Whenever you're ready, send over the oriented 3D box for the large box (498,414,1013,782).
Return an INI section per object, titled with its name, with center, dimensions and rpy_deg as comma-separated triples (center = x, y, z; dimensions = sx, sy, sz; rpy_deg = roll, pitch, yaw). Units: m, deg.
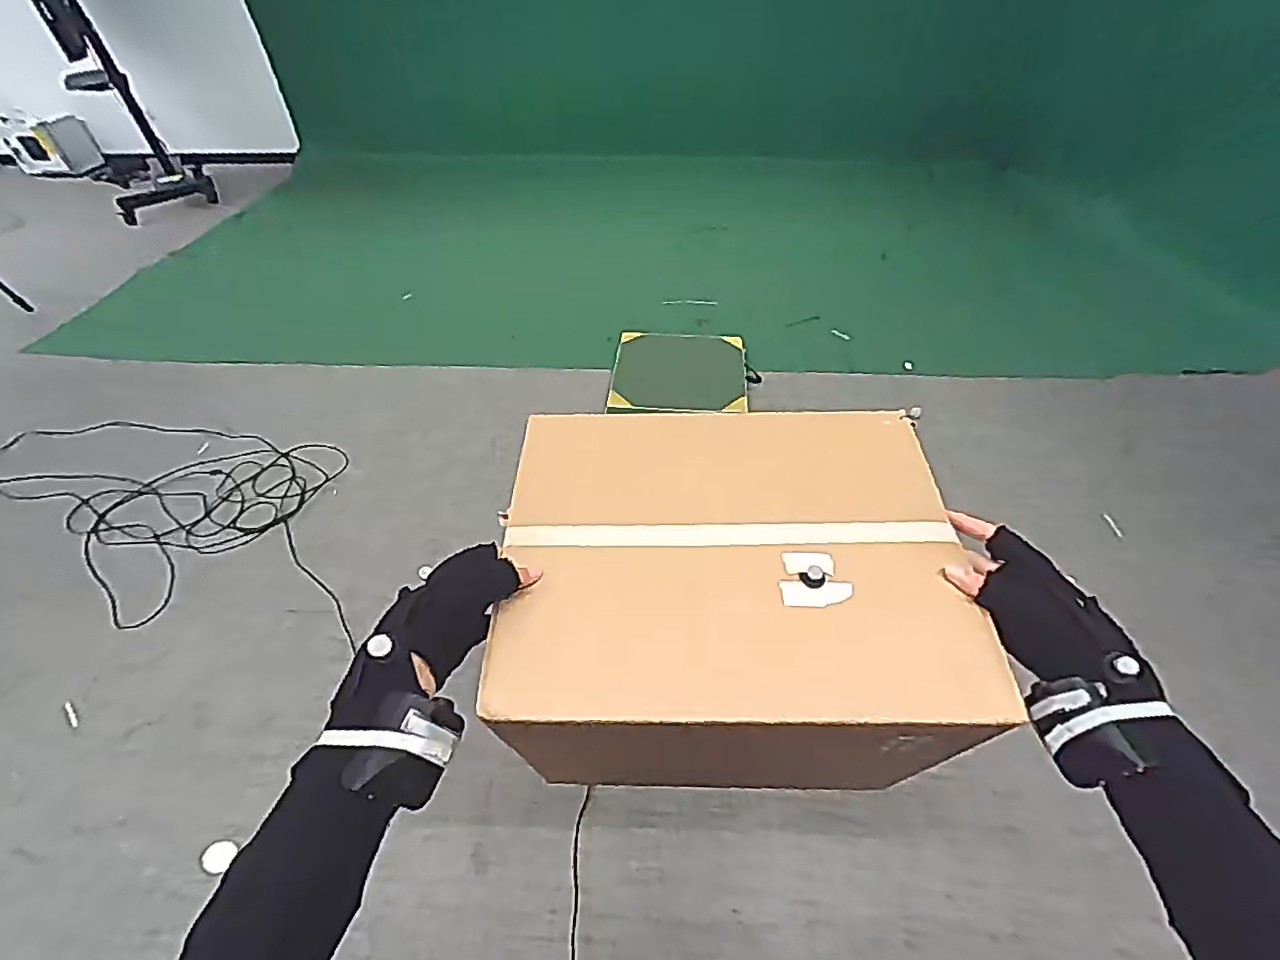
[large box]
center = 0.087, 0.143, 0.618
dimensions = 0.408, 0.320, 0.320
rpy_deg = 0, 53, 1
